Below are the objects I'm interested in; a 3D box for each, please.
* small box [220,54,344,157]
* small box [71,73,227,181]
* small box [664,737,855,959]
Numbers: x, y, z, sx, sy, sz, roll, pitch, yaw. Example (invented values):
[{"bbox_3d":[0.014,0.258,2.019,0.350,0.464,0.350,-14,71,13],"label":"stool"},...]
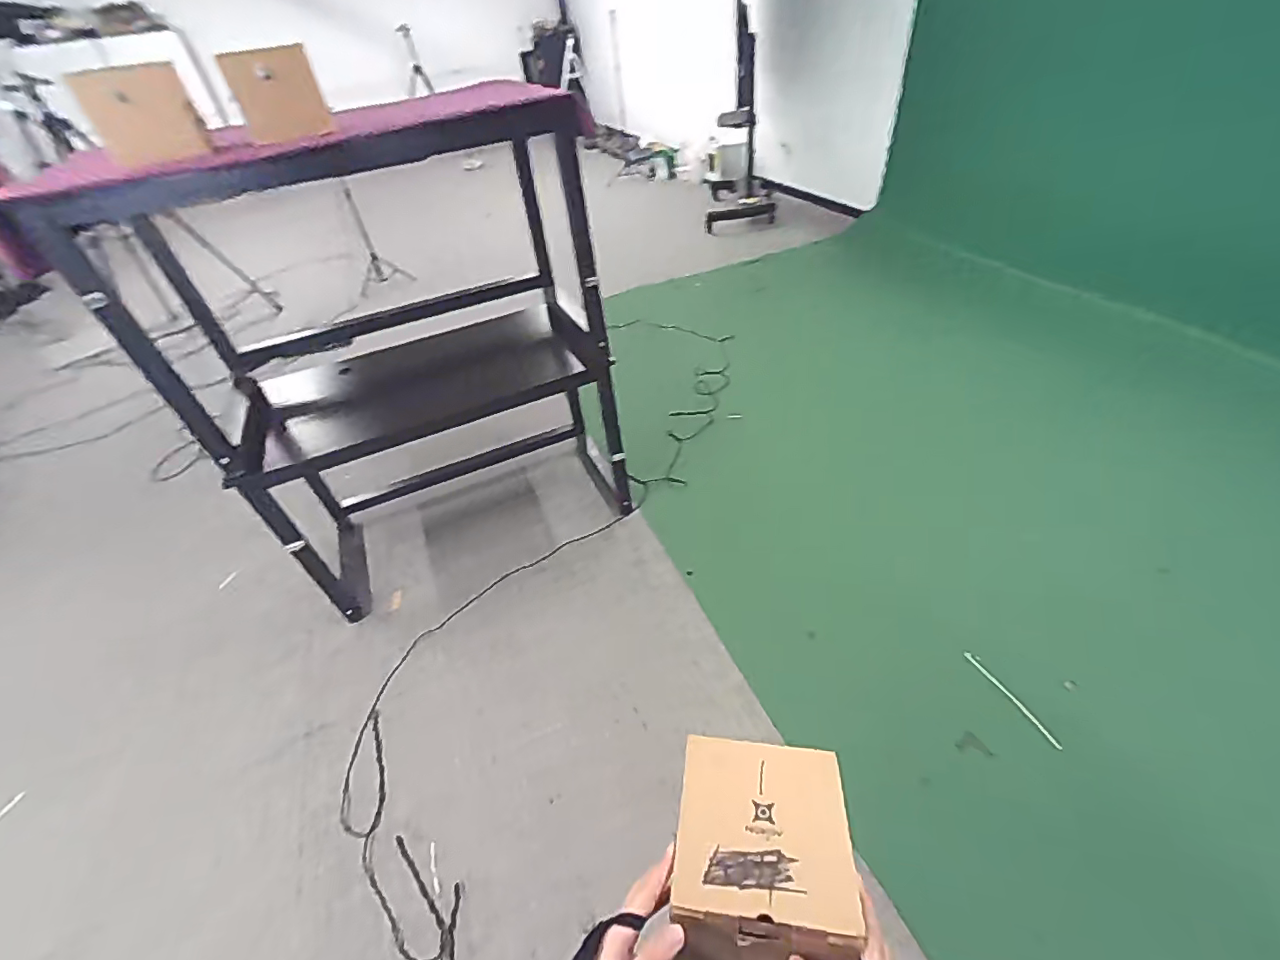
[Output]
[{"bbox_3d":[-0.809,-0.859,1.240,0.179,0.176,0.168,-21,43,-14],"label":"small box"},{"bbox_3d":[-1.055,-0.771,1.181,0.179,0.176,0.168,-22,44,-16],"label":"small box"},{"bbox_3d":[0.121,0.411,0.574,0.168,0.176,0.179,2,28,10],"label":"small box"}]
